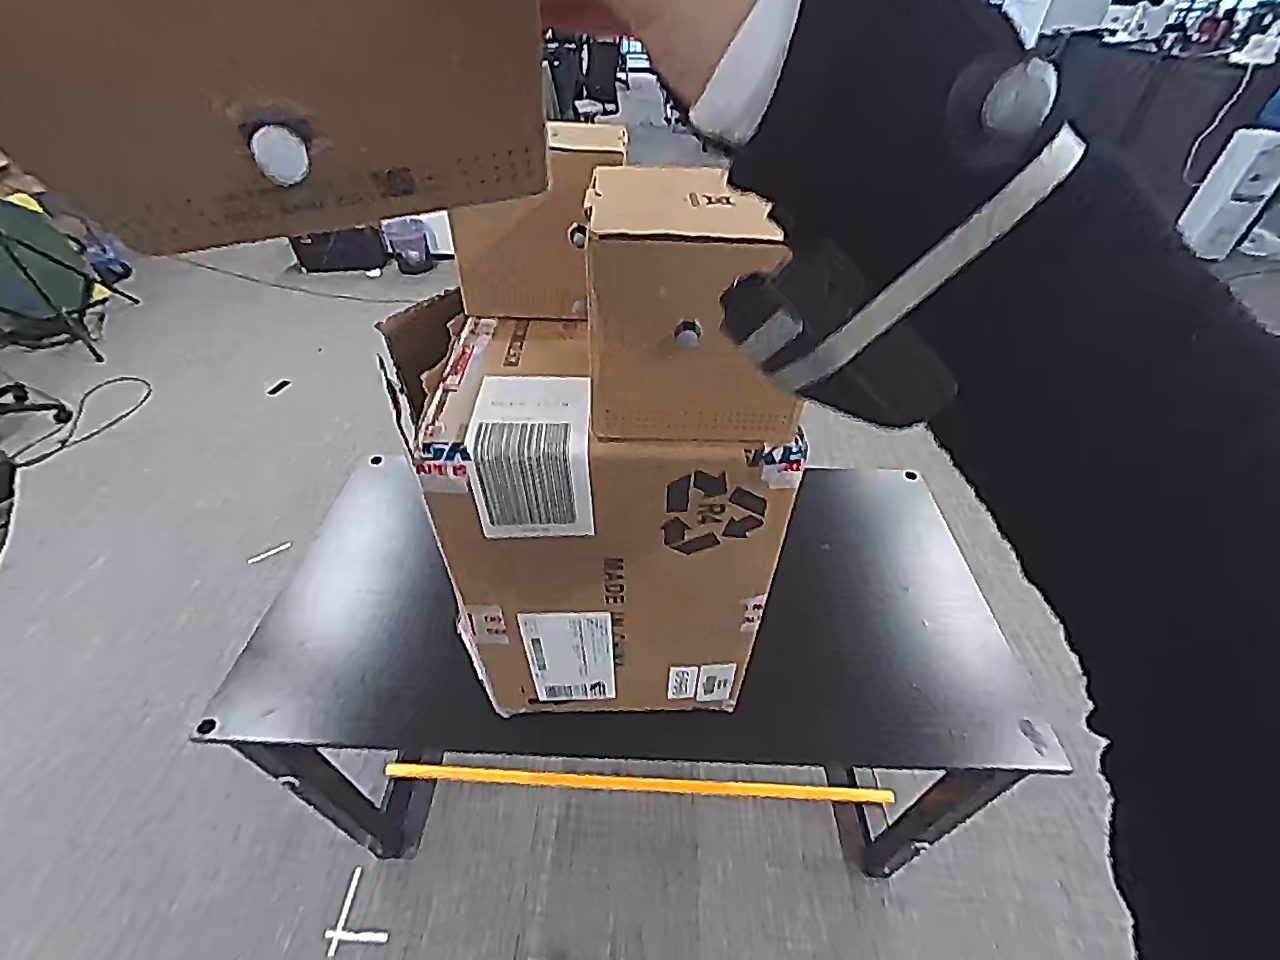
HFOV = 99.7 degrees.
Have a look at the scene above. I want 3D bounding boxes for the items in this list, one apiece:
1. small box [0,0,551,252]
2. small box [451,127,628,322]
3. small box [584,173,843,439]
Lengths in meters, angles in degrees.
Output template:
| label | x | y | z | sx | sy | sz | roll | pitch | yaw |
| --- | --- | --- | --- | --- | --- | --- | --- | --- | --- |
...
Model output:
| label | x | y | z | sx | sy | sz | roll | pitch | yaw |
| --- | --- | --- | --- | --- | --- | --- | --- | --- | --- |
| small box | -0.128 | -0.206 | 0.167 | 0.168 | 0.176 | 0.179 | -14 | 81 | -8 |
| small box | -0.104 | -0.289 | 0.616 | 0.179 | 0.176 | 0.168 | 0 | 40 | -2 |
| small box | 0.047 | -0.149 | 0.468 | 0.179 | 0.176 | 0.168 | 0 | 45 | -2 |
